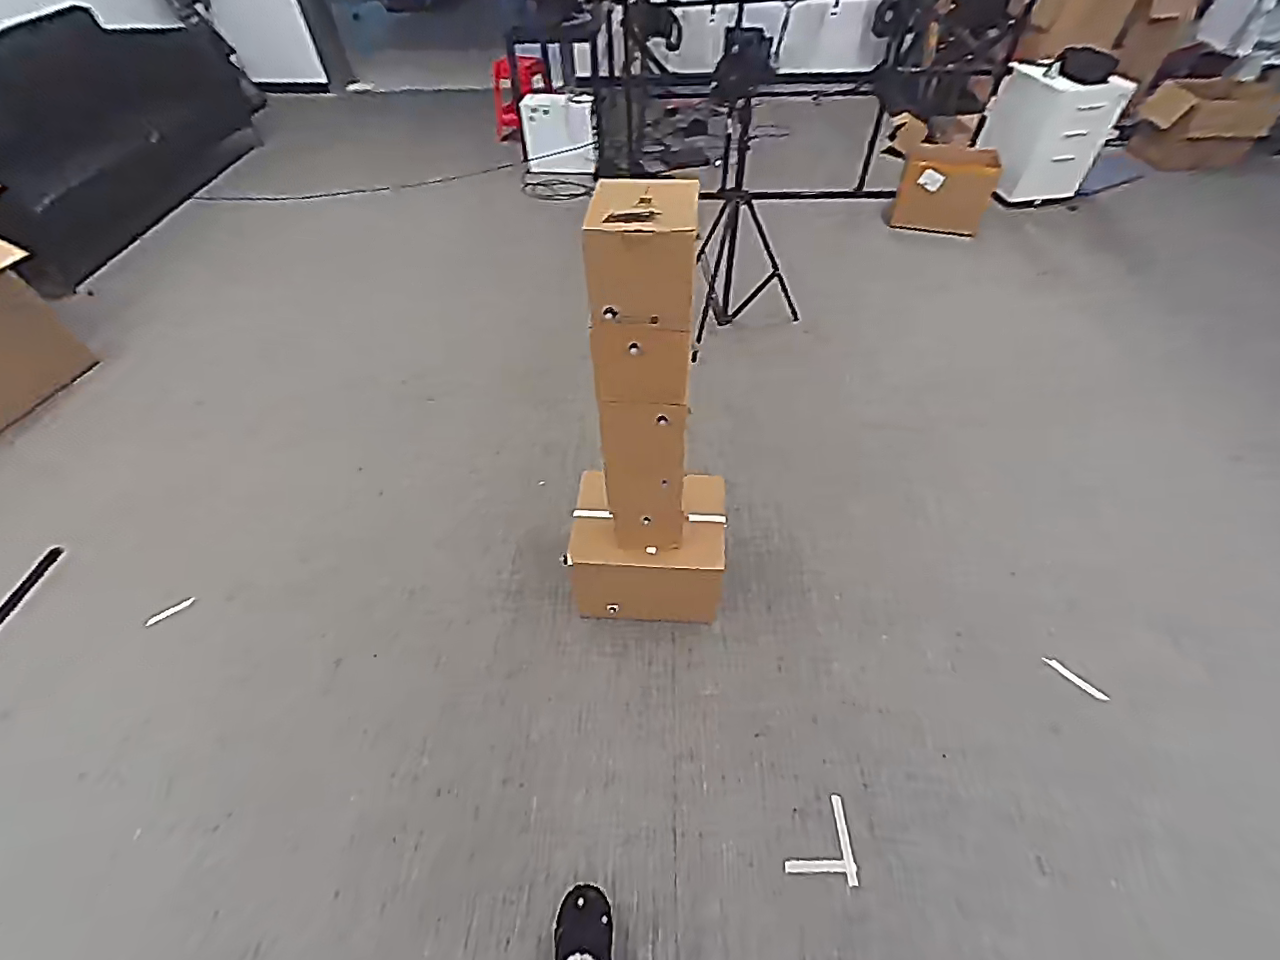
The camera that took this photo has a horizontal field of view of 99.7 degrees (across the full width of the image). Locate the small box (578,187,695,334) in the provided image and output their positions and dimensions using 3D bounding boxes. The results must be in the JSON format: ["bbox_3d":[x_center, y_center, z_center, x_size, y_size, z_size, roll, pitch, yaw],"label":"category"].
[{"bbox_3d":[0.003,-0.356,0.885,0.168,0.176,0.179,3,50,5],"label":"small box"}]

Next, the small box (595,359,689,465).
[{"bbox_3d":[0.009,-0.145,1.134,0.179,0.176,0.168,3,50,5],"label":"small box"}]

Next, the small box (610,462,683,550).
[{"bbox_3d":[0.020,0.068,1.384,0.179,0.176,0.168,1,51,1],"label":"small box"}]

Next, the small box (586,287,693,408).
[{"bbox_3d":[0.005,-0.250,1.011,0.179,0.176,0.168,3,51,5],"label":"small box"}]
